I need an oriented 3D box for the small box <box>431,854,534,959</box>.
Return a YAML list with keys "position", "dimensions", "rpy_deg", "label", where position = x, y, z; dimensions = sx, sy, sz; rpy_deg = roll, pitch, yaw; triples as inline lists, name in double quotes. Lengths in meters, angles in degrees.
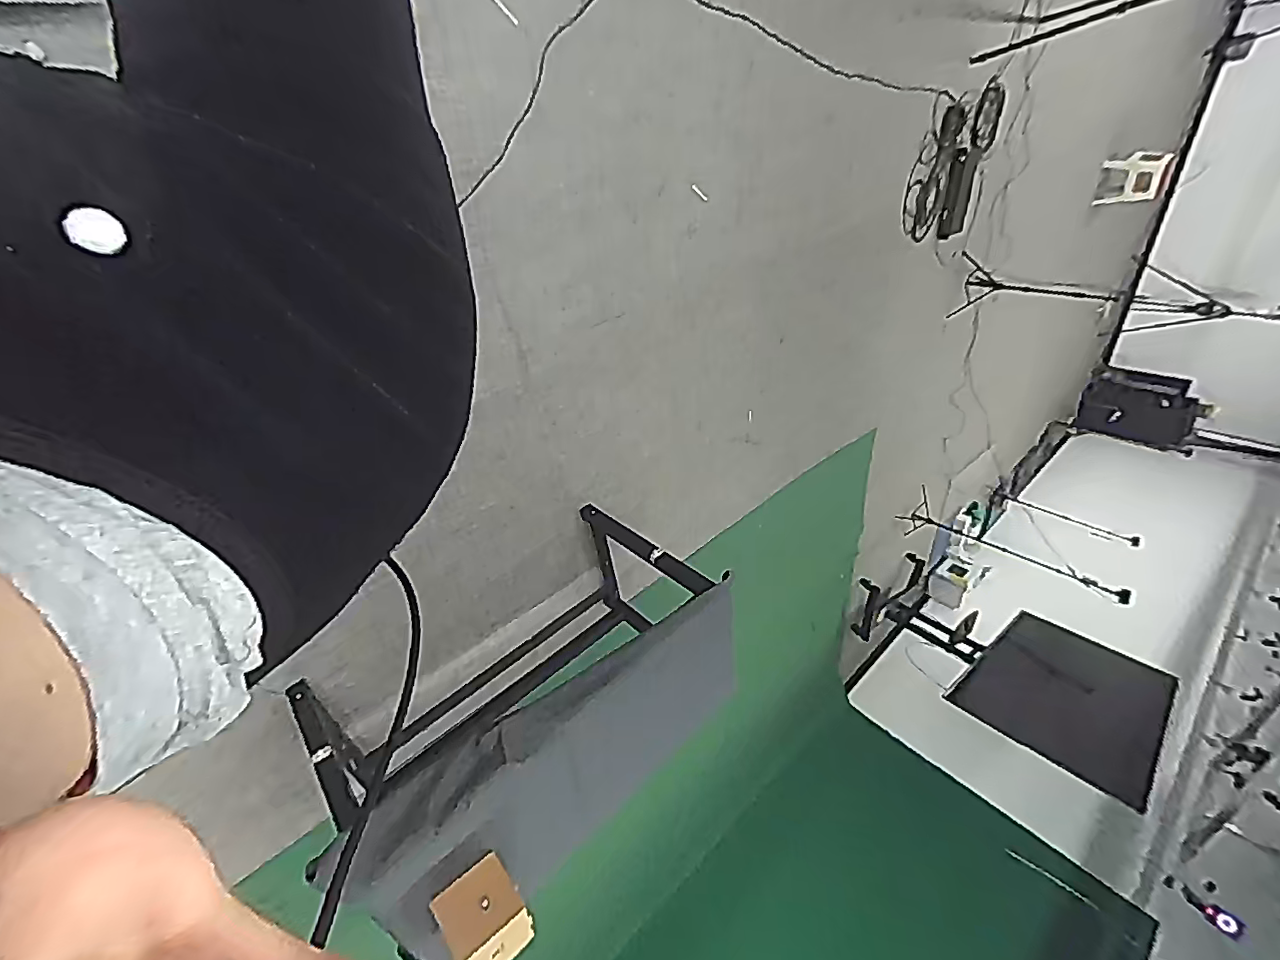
- position: [-0.389, 1.089, 1.343]
  dimensions: [0.179, 0.176, 0.168]
  rpy_deg: [-26, 127, -34]
  label: "small box"
